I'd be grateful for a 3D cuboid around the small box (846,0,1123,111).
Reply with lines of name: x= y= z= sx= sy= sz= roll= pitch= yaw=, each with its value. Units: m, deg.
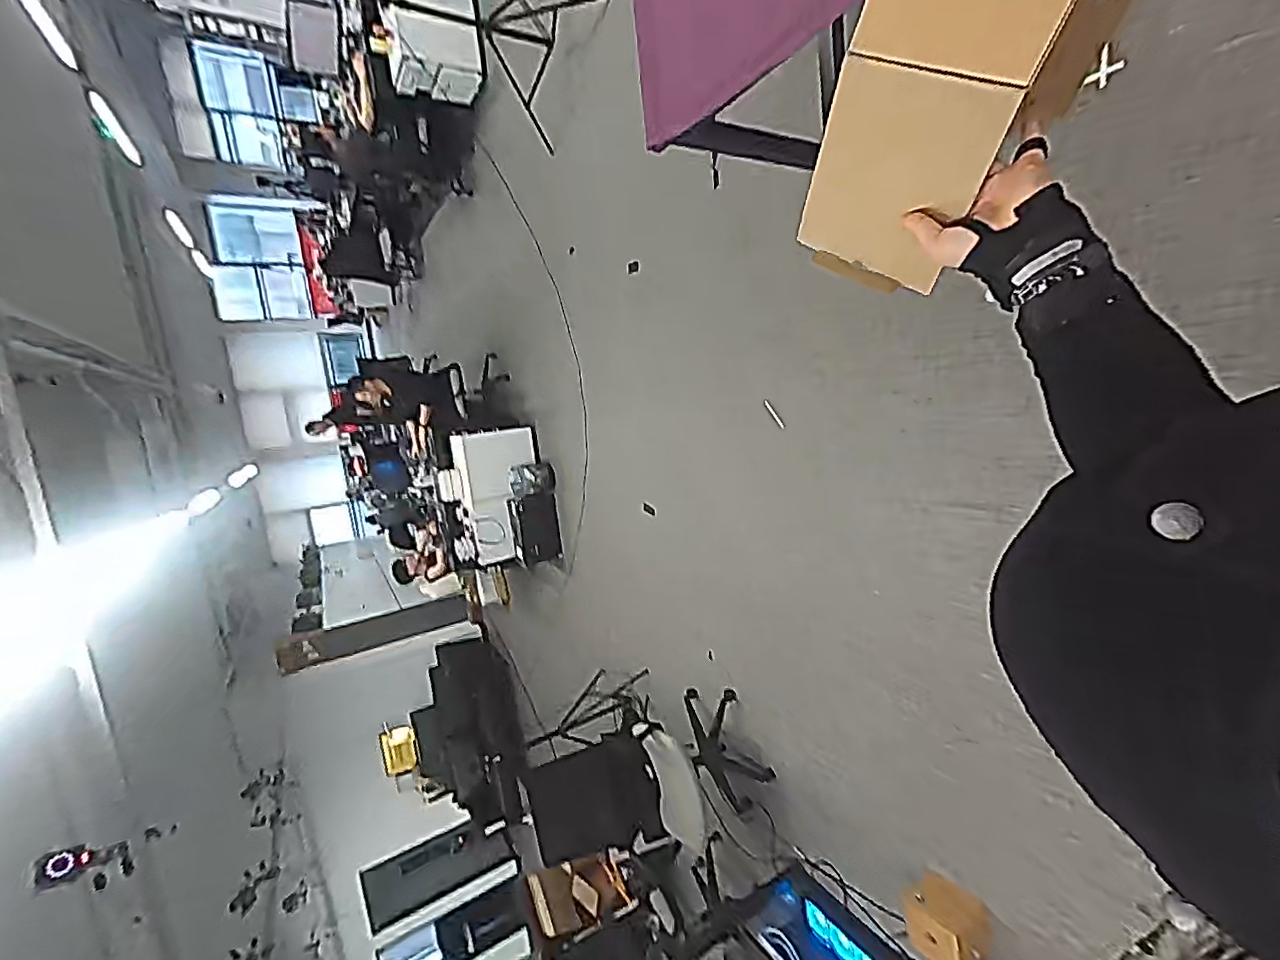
small box: x=0.319 y=-0.444 z=0.467 sx=0.168 sy=0.176 sz=0.179 roll=38 pitch=132 yaw=28
